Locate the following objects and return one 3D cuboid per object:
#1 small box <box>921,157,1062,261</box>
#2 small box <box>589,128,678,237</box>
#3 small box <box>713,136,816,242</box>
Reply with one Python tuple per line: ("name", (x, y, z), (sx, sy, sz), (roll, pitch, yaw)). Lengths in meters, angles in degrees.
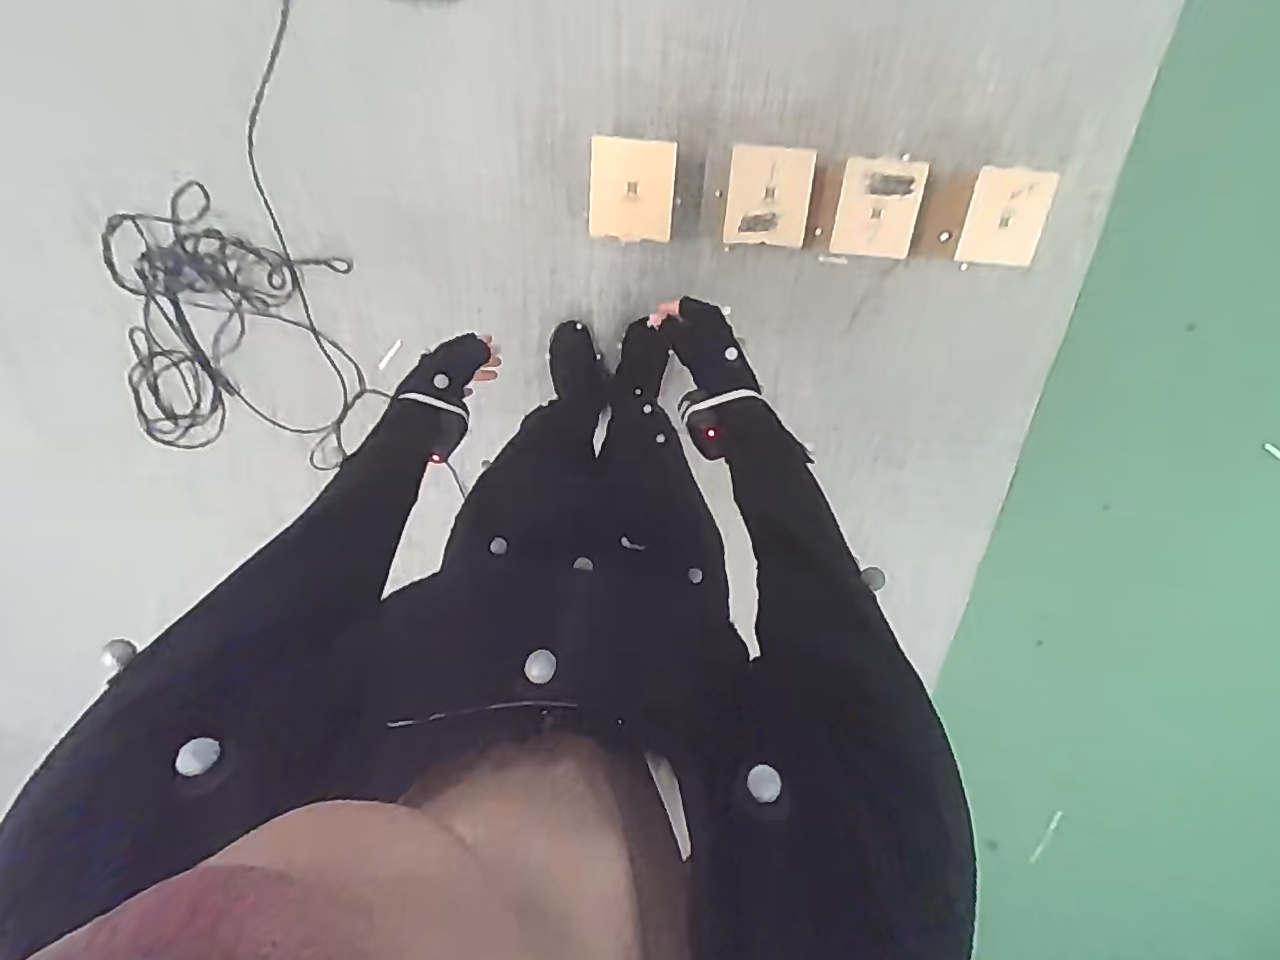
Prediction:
("small box", (0.729, -0.569, 1.148), (0.168, 0.176, 0.179), (3, 114, -3))
("small box", (-0.017, -0.606, 1.122), (0.168, 0.176, 0.179), (3, 114, -2))
("small box", (0.249, -0.596, 1.127), (0.168, 0.176, 0.179), (3, 113, -1))
